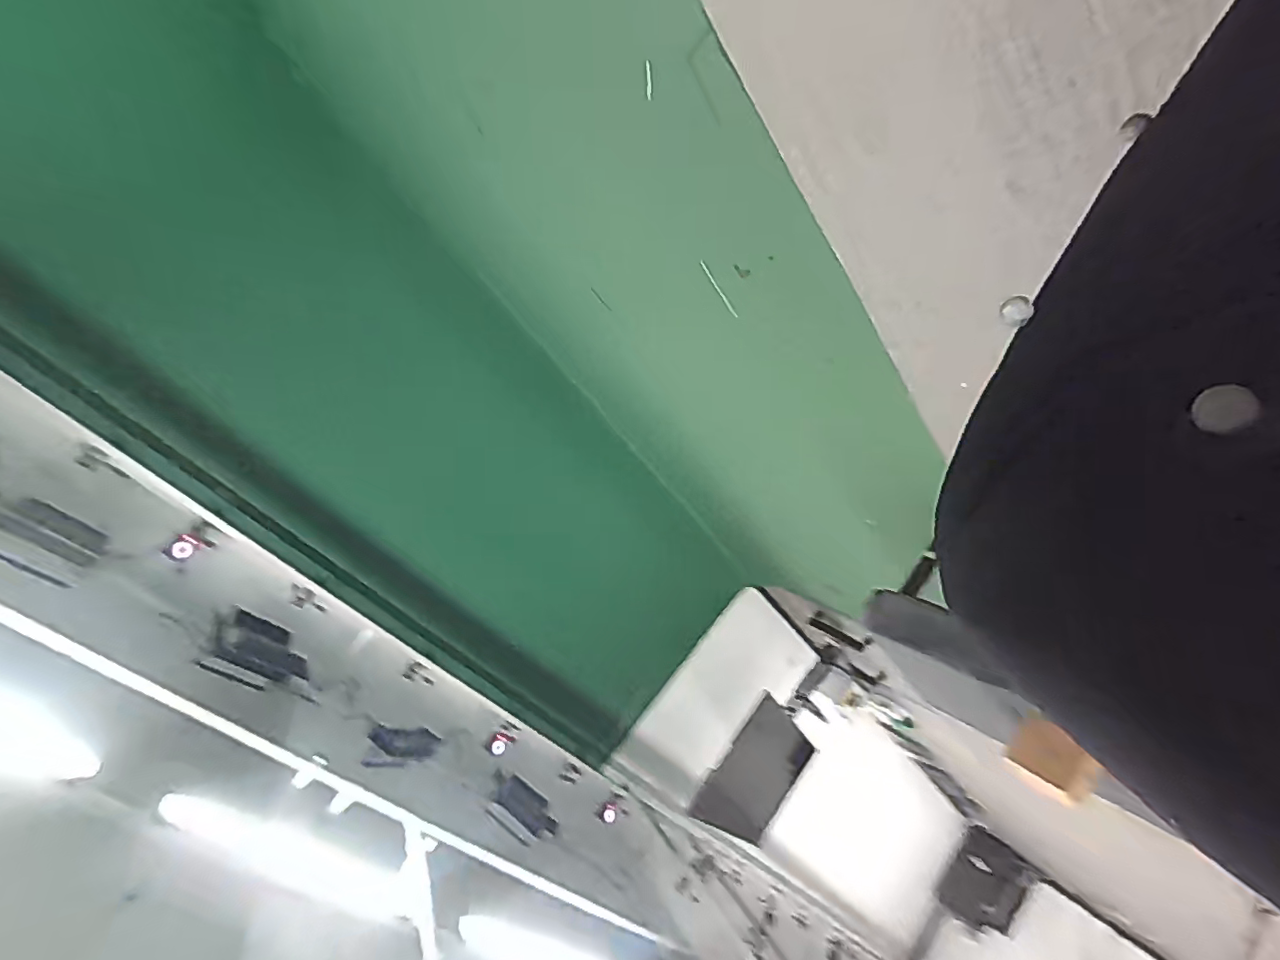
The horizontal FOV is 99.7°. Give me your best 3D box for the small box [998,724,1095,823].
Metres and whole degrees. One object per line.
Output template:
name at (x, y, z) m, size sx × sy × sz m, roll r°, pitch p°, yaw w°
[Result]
small box at (1.235, 0.880, 1.636) m, size 0.168 × 0.176 × 0.179 m, roll 47°, pitch 167°, yaw -28°
